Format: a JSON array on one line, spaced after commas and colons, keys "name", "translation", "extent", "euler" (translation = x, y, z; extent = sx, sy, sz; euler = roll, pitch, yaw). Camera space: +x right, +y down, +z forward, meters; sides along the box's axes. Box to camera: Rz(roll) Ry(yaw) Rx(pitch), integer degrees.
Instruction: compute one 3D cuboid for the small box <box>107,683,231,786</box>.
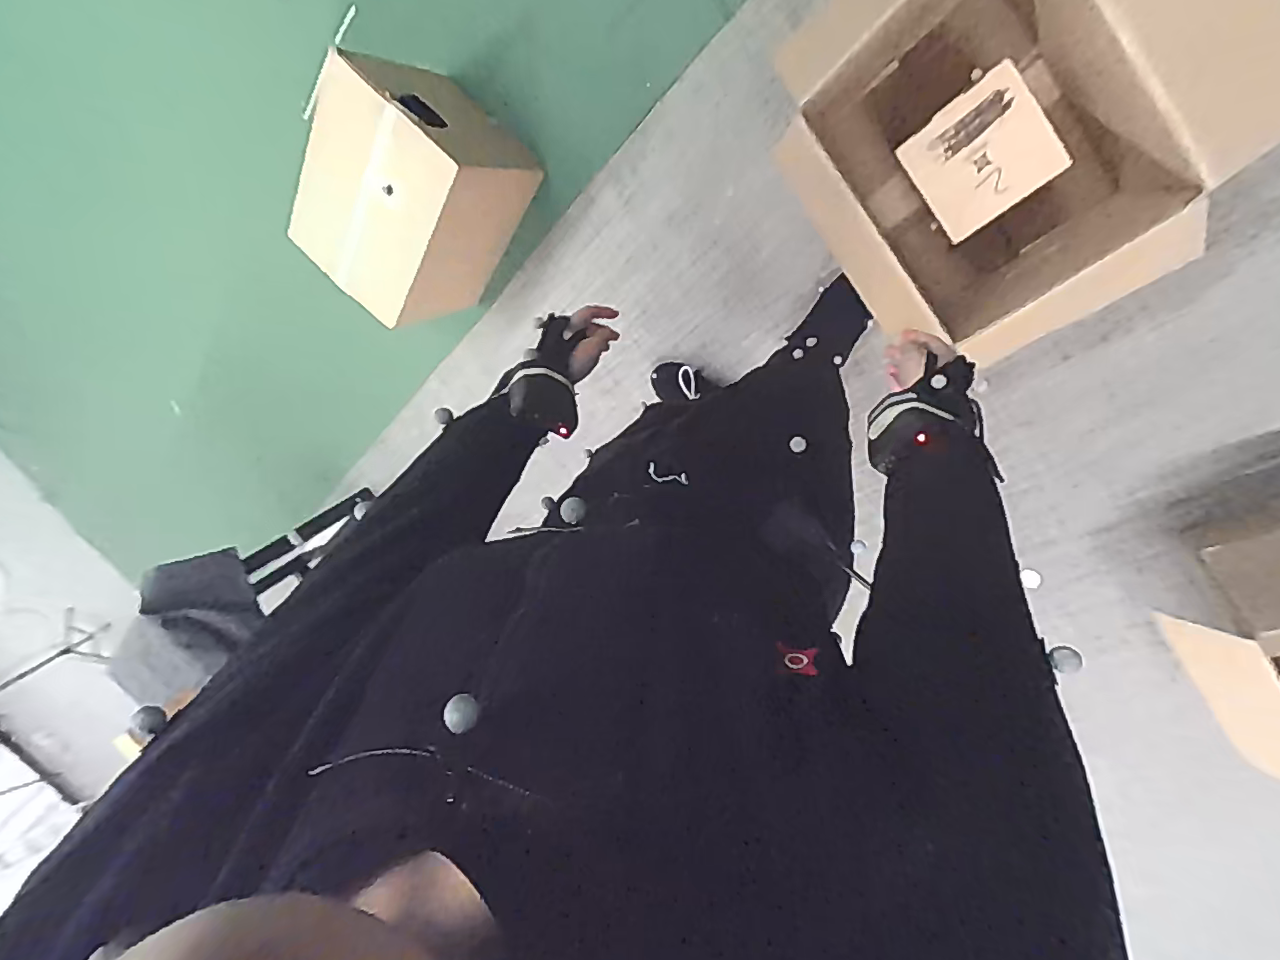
[{"name": "small box", "translation": [-1.235, 0.669, 1.426], "extent": [0.168, 0.176, 0.179], "euler": [-30, 101, 34]}]
